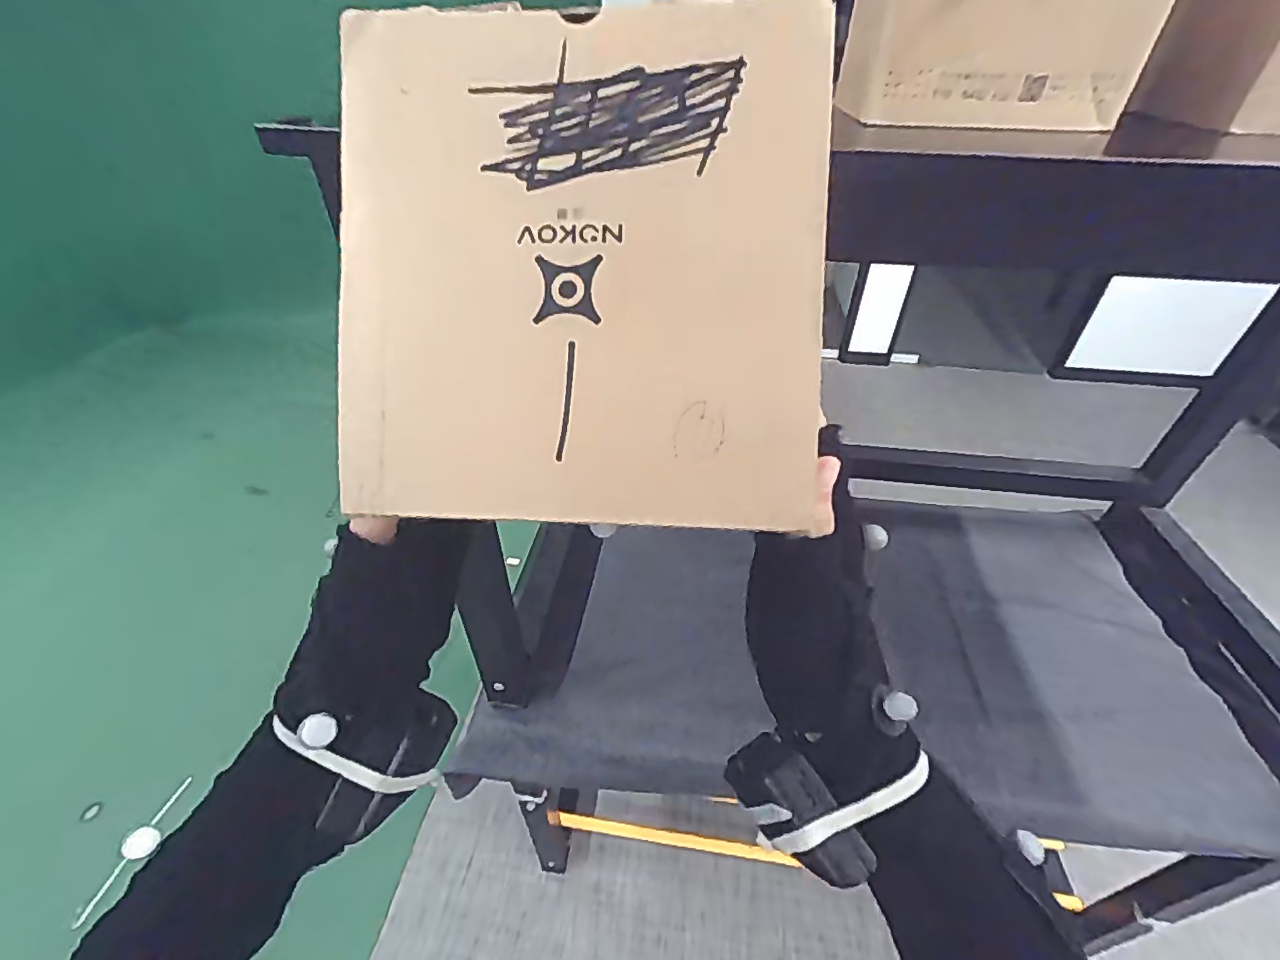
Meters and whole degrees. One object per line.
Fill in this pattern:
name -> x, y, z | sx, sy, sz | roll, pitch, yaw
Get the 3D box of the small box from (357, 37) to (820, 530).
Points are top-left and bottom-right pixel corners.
small box -> -0.014, -0.072, 0.275 | 0.168, 0.179, 0.176 | 2, 0, 6

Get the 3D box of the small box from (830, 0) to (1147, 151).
small box -> 0.251, -0.355, 0.406 | 0.168, 0.176, 0.179 | 6, 39, 6
